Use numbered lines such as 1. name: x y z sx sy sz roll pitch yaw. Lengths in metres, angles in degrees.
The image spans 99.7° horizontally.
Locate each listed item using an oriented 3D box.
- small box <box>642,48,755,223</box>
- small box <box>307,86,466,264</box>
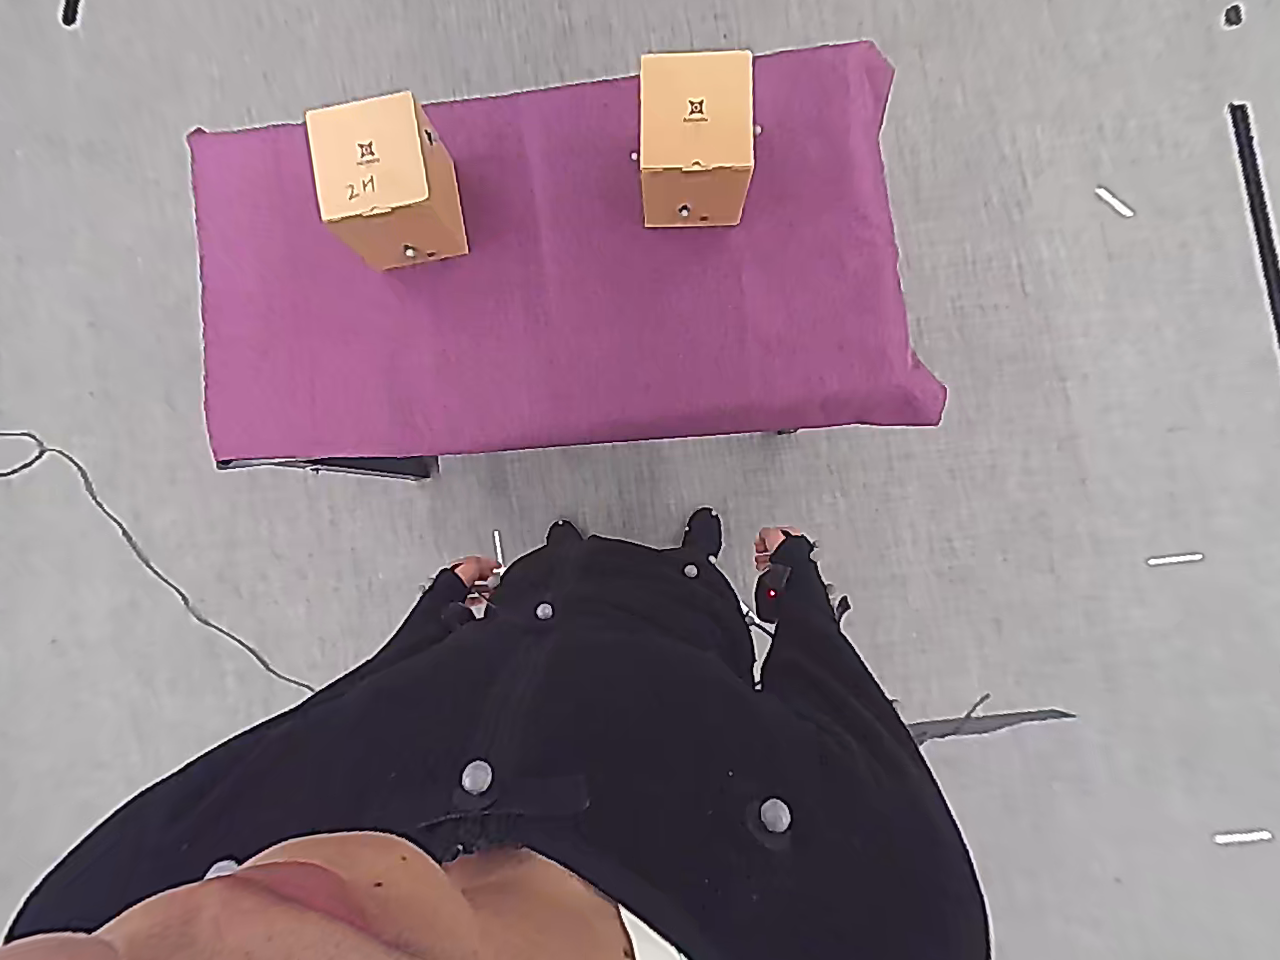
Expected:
1. small box: 0.087 -0.537 0.862 0.168 0.176 0.179 0 88 2
2. small box: -0.398 -0.480 0.874 0.168 0.176 0.179 -10 87 1
